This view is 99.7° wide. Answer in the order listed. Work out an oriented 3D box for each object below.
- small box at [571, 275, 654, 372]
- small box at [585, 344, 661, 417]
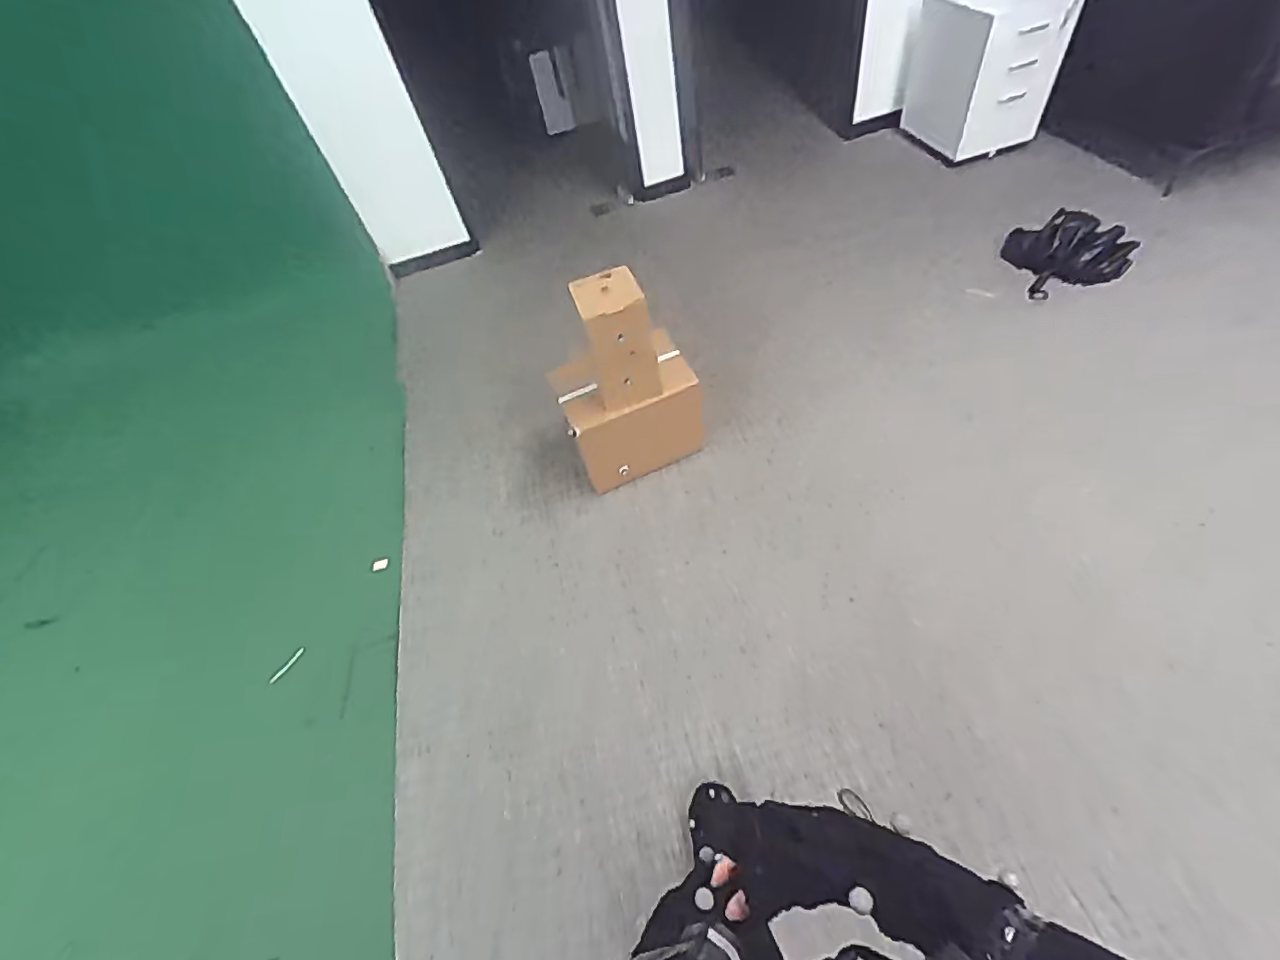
[{"bbox_3d":[-0.071,-0.412,1.456,0.168,0.176,0.179,-19,52,-3],"label":"small box"},{"bbox_3d":[-0.044,-0.314,1.583,0.179,0.176,0.168,-19,52,-2],"label":"small box"}]
